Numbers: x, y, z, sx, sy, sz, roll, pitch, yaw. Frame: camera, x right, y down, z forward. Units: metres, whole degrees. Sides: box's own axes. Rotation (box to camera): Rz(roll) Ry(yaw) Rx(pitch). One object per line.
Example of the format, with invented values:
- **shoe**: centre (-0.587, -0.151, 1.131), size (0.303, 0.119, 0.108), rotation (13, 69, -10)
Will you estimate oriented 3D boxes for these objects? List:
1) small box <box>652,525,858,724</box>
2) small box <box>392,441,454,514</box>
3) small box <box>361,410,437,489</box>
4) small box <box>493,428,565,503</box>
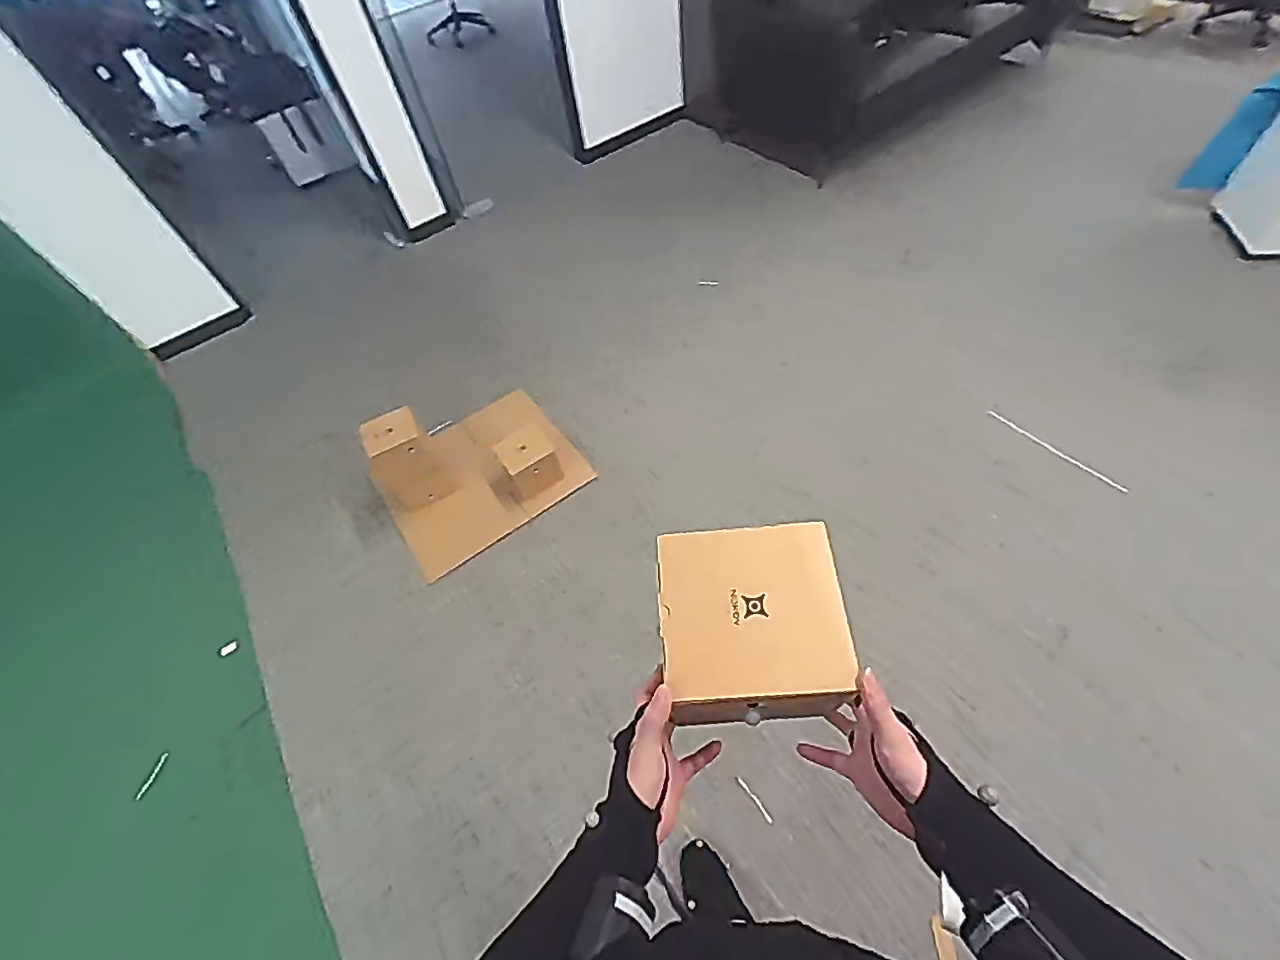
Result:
- **small box**: centre (0.111, 0.163, 0.586), size (0.179, 0.176, 0.168), rotation (-7, 59, 5)
- **small box**: centre (-0.800, -0.008, 1.980), size (0.179, 0.176, 0.168), rotation (-26, 55, -11)
- **small box**: centre (-0.812, -0.101, 1.843), size (0.179, 0.176, 0.168), rotation (-27, 55, -11)
- **small box**: centre (-0.398, -0.049, 1.957), size (0.179, 0.176, 0.168), rotation (-33, 57, -15)
